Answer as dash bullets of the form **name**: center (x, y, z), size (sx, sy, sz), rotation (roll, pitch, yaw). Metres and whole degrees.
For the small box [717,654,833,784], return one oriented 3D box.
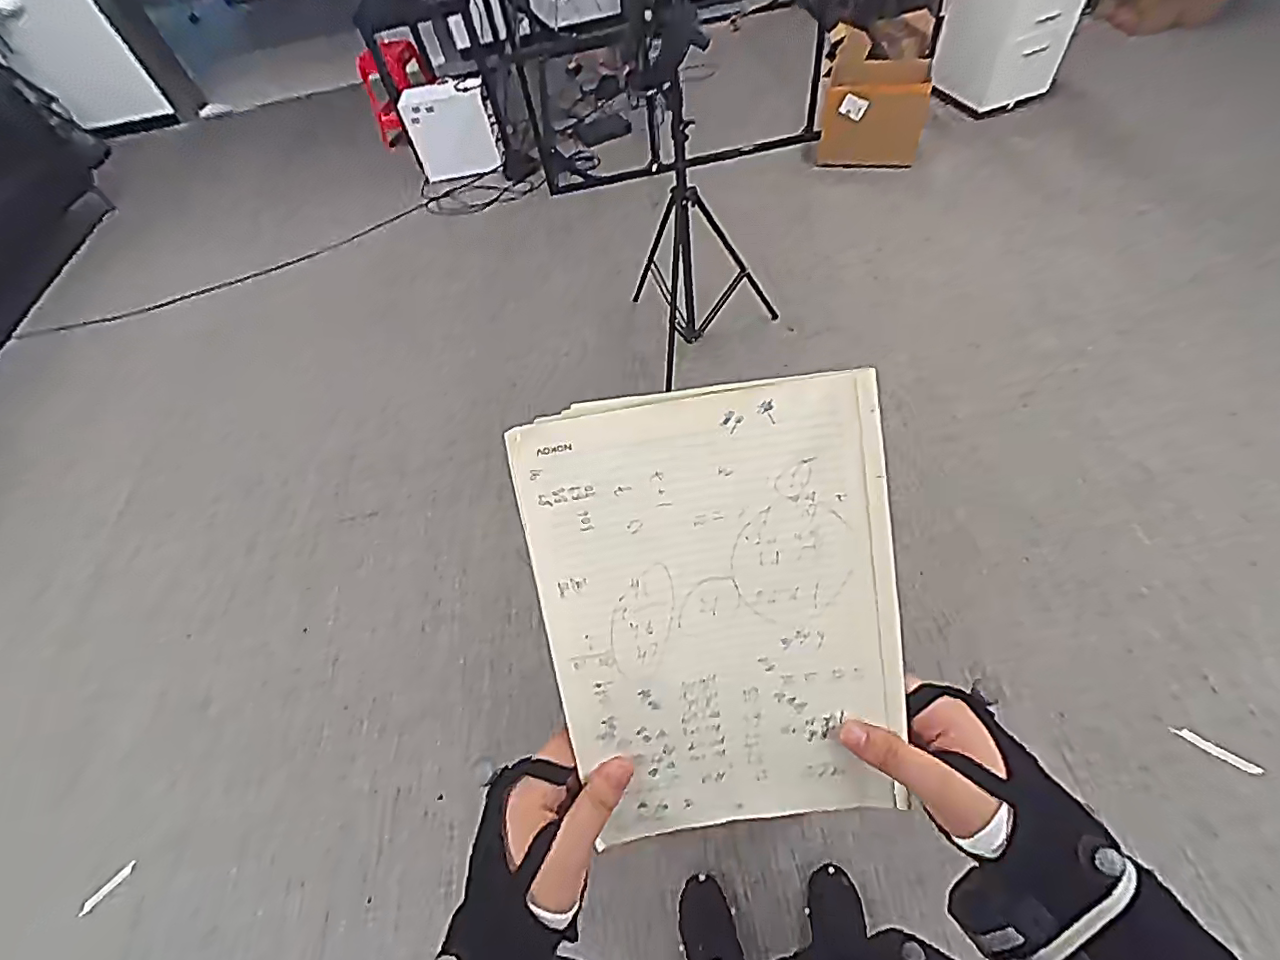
- **small box**: center (0.223, 0.358, 0.834), size (0.179, 0.176, 0.168), rotation (-11, 56, -1)

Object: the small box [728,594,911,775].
- **small box**: center (0.211, 0.267, 0.698), size (0.168, 0.176, 0.179), rotation (-8, 57, 1)
